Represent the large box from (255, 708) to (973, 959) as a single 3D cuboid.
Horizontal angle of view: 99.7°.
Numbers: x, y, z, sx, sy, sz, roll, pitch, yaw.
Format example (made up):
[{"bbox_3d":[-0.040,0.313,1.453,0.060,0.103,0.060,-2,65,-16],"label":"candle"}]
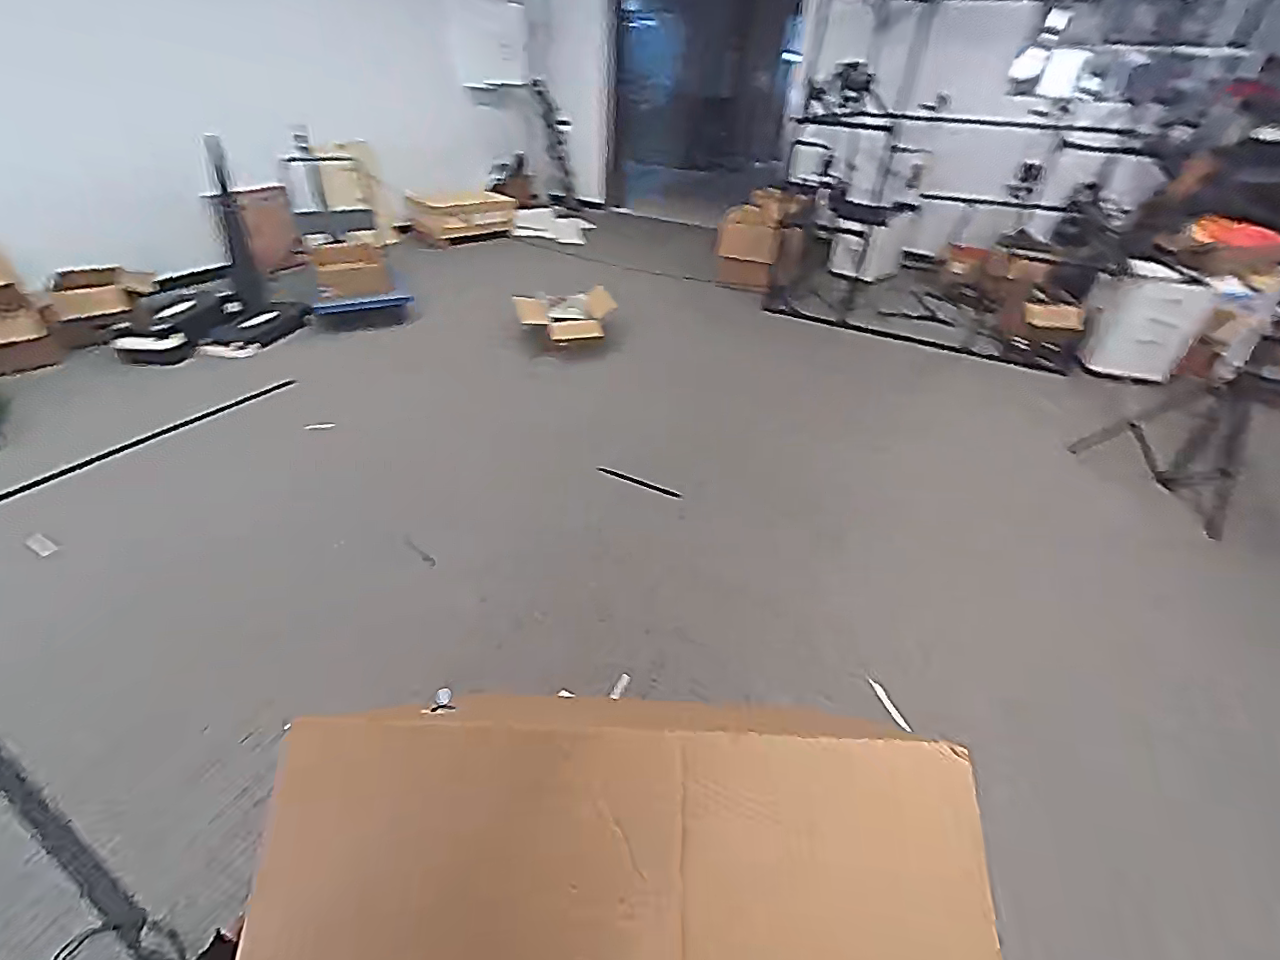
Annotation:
[{"bbox_3d":[-0.016,0.352,0.424,0.408,0.320,0.320,0,72,3],"label":"large box"}]
